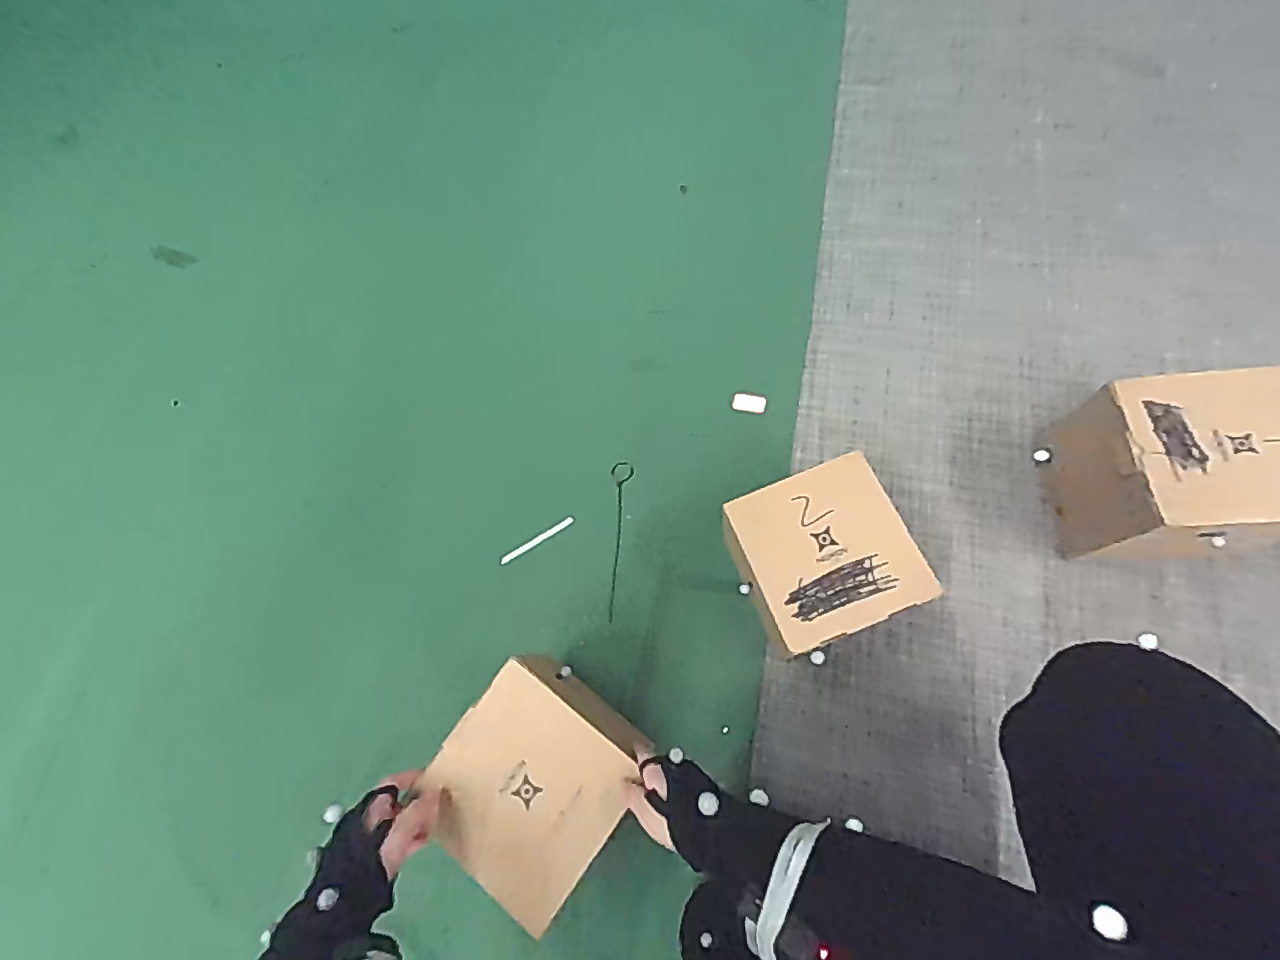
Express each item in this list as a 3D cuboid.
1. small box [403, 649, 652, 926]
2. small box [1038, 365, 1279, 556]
[{"bbox_3d":[-0.103,0.303,0.579,0.179,0.176,0.168,36,78,13],"label":"small box"},{"bbox_3d":[0.599,-0.011,0.620,0.179,0.176,0.168,-4,70,7],"label":"small box"}]
